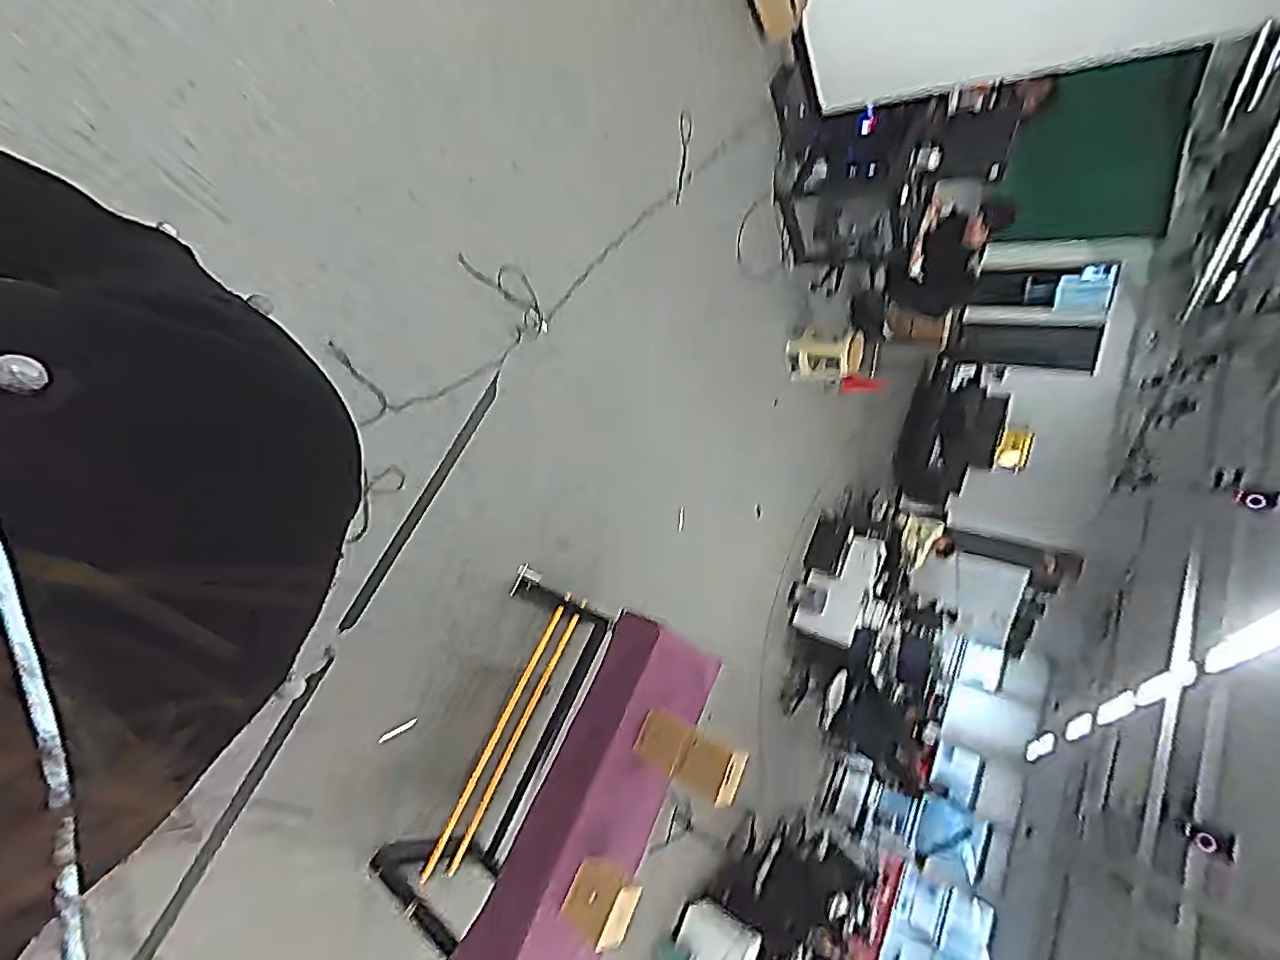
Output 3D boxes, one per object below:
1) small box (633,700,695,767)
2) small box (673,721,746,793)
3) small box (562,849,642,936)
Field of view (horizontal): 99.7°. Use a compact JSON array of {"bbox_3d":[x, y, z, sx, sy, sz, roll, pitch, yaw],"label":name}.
[{"bbox_3d":[0.102,0.915,1.944,0.168,0.176,0.179,-62,143,-17],"label":"small box"},{"bbox_3d":[0.239,0.950,1.860,0.179,0.176,0.168,43,67,-52],"label":"small box"},{"bbox_3d":[-0.127,1.355,1.789,0.168,0.176,0.179,-63,144,-18],"label":"small box"}]
